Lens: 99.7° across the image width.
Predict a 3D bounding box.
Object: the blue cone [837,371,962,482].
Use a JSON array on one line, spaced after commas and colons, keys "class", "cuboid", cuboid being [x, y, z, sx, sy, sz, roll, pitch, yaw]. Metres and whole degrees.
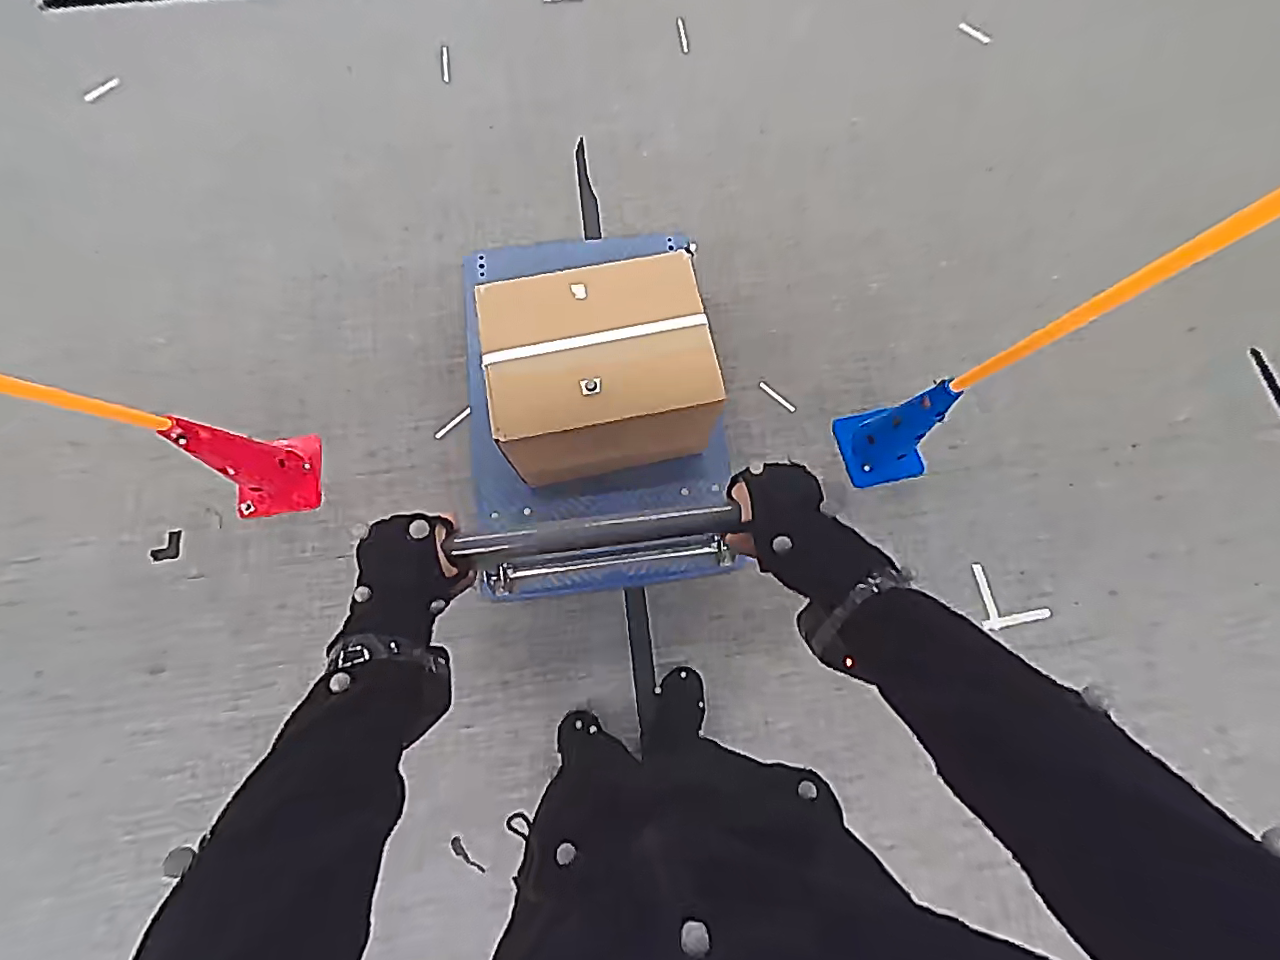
[{"class": "blue cone", "cuboid": [0.635, -0.141, 1.268, 0.193, 0.380, 0.192, -11, 73, -5]}]
